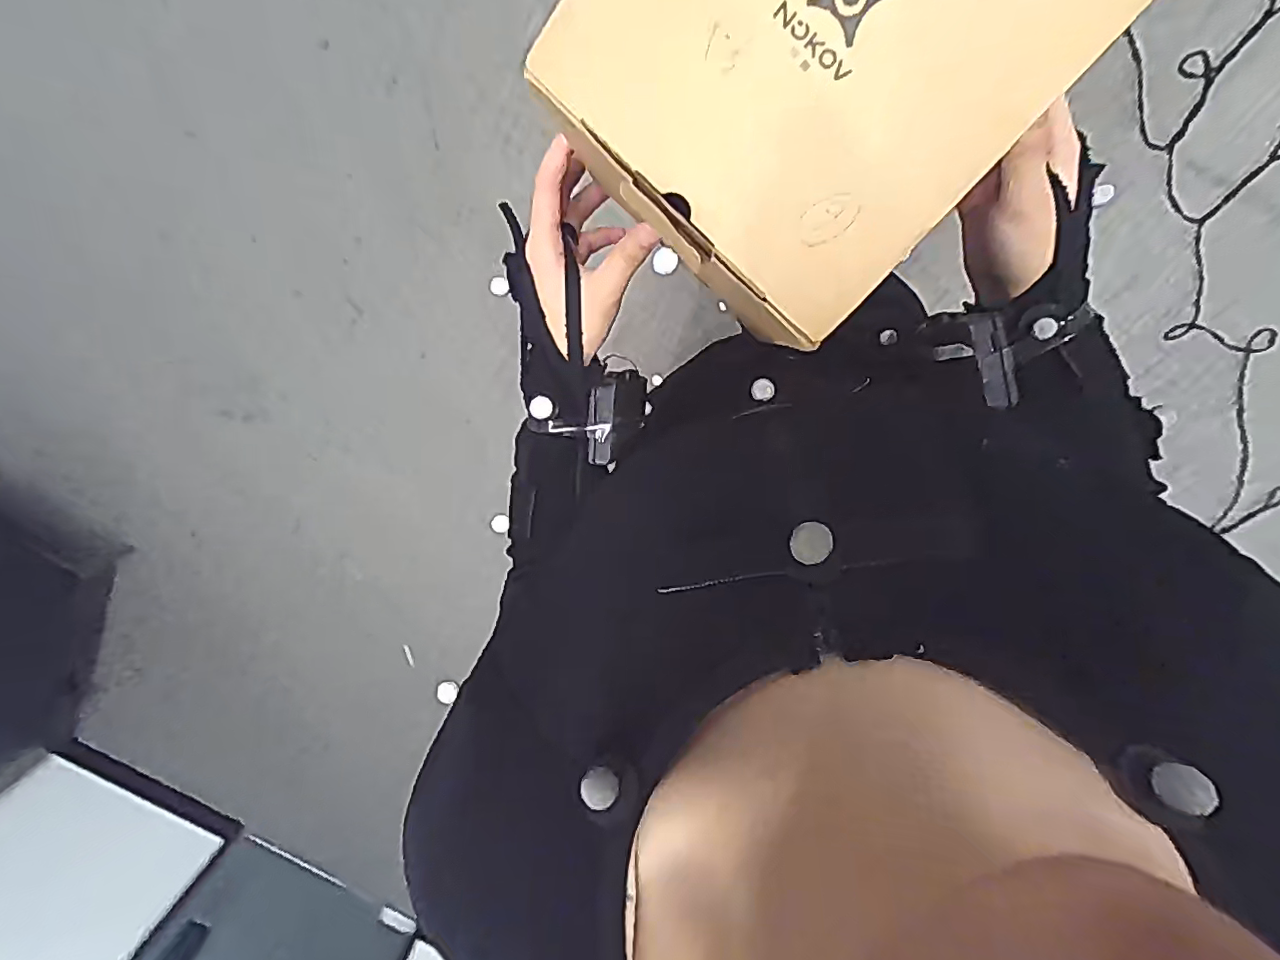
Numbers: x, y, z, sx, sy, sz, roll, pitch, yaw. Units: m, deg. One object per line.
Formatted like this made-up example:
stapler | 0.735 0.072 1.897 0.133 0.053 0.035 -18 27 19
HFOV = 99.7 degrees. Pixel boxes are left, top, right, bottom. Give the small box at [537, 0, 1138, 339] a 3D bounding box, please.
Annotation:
small box | 0.079 -0.196 0.290 0.168 0.176 0.179 42 106 -7
